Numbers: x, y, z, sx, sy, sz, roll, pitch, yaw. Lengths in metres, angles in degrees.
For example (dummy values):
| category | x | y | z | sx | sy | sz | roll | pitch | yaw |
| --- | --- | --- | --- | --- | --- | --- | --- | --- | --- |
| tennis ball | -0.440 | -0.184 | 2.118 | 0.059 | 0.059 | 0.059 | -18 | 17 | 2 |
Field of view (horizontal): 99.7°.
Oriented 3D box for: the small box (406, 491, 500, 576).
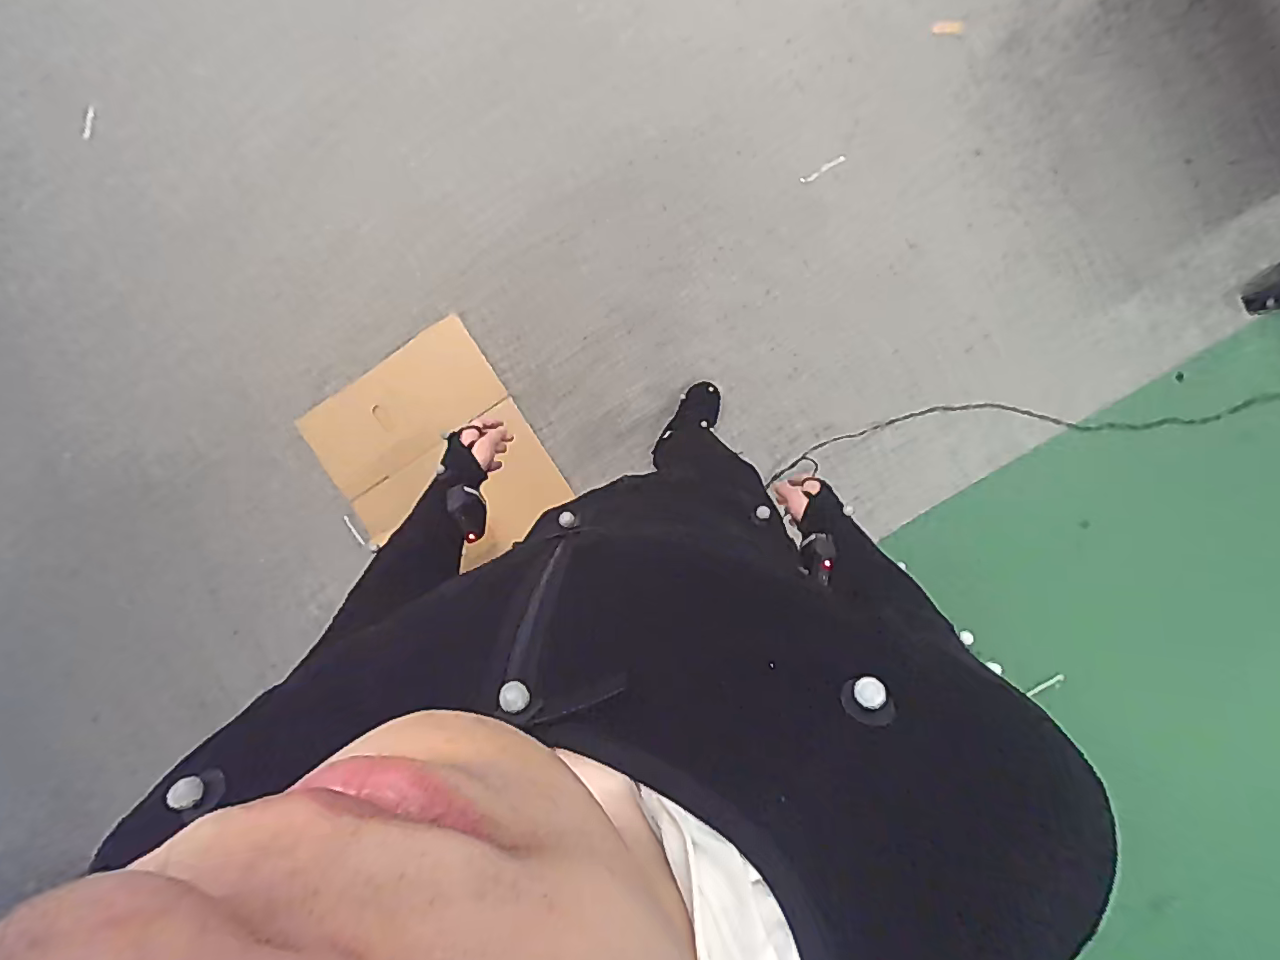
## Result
| category | x | y | z | sx | sy | sz | roll | pitch | yaw |
| --- | --- | --- | --- | --- | --- | --- | --- | --- | --- |
| small box | -0.537 | 0.150 | 1.584 | 0.168 | 0.176 | 0.179 | -28 | 94 | 6 |
